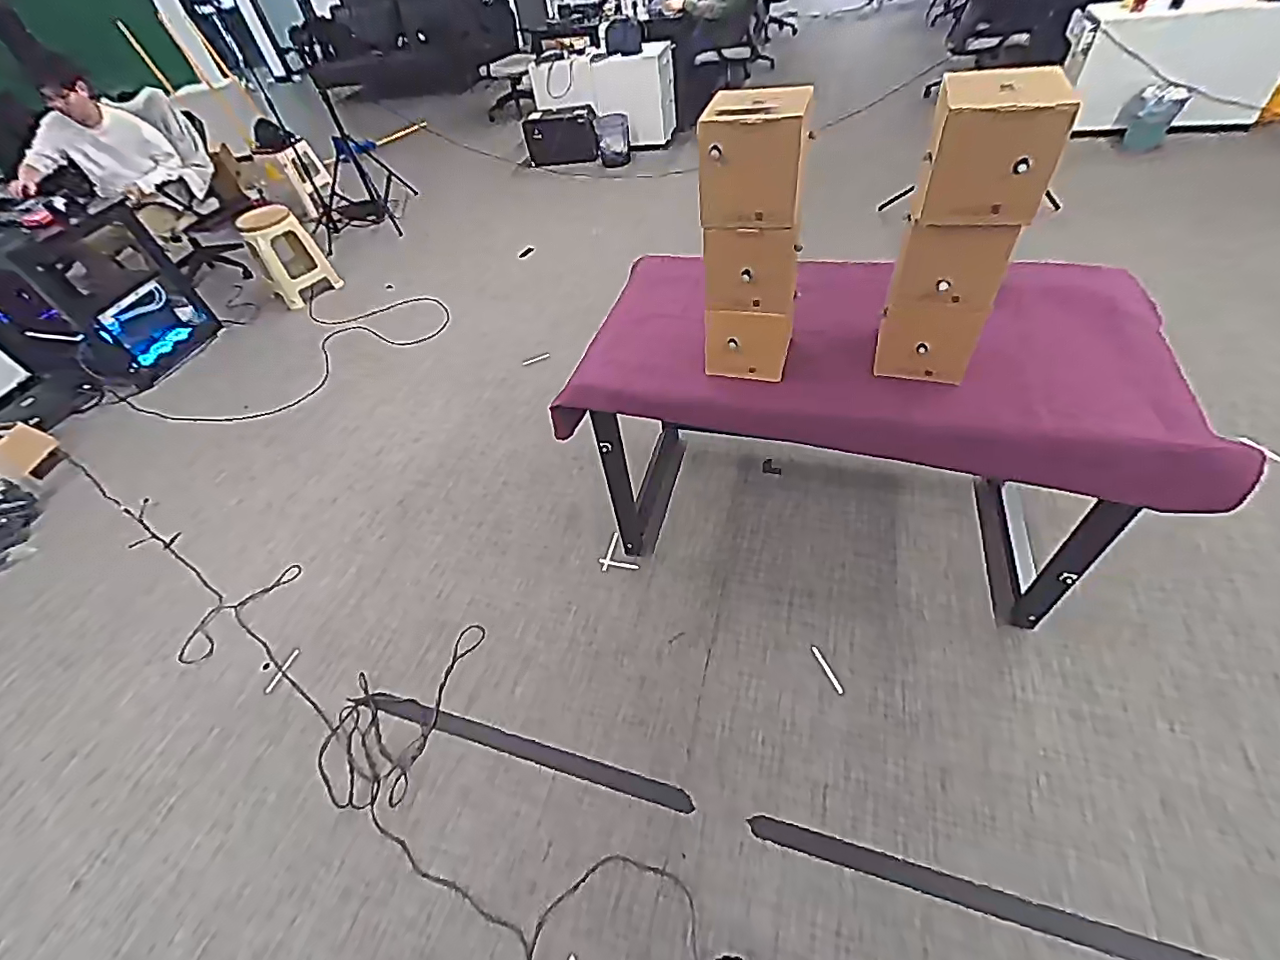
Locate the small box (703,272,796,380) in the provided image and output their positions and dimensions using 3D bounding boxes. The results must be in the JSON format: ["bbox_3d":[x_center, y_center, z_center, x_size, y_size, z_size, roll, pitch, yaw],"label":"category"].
[{"bbox_3d":[0.242,-0.339,1.186,0.168,0.176,0.179,10,50,17],"label":"small box"}]

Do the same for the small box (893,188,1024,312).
[{"bbox_3d":[0.575,-0.435,0.995,0.168,0.176,0.179,10,52,18],"label":"small box"}]

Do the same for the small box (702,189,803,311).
[{"bbox_3d":[0.223,-0.452,1.069,0.168,0.176,0.179,8,50,15],"label":"small box"}]

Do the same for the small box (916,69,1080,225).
[{"bbox_3d":[0.551,-0.524,0.860,0.168,0.176,0.179,9,51,15],"label":"small box"}]

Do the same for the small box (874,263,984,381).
[{"bbox_3d":[0.591,-0.325,1.116,0.168,0.176,0.179,11,51,18],"label":"small box"}]
